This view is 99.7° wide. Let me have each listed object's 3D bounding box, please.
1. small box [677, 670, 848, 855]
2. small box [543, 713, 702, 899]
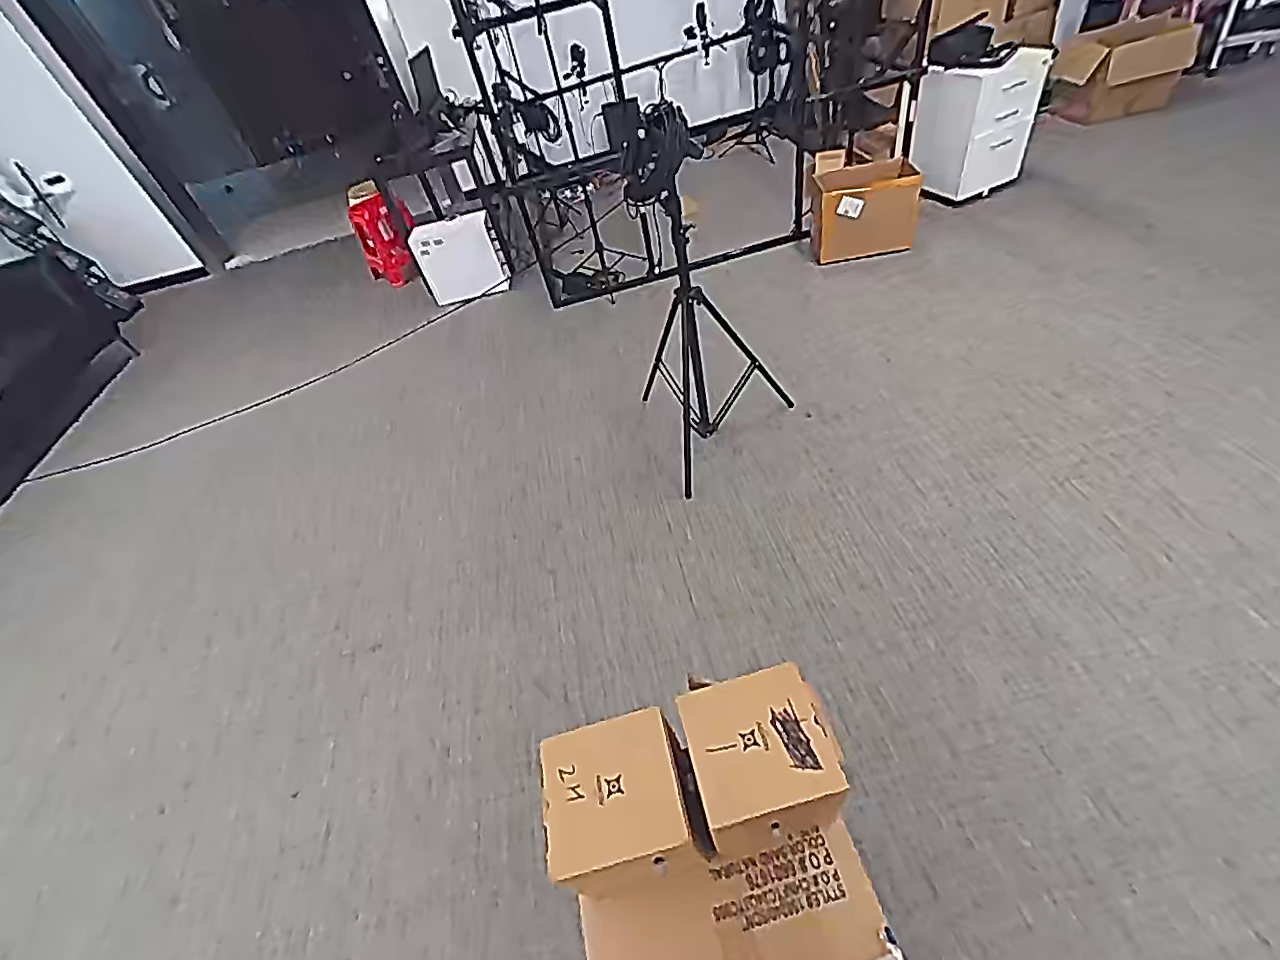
[{"bbox_3d":[0.162,0.394,0.752,0.179,0.176,0.168,-16,46,-1],"label":"small box"},{"bbox_3d":[-0.020,0.451,0.747,0.179,0.176,0.168,-18,45,2],"label":"small box"}]
